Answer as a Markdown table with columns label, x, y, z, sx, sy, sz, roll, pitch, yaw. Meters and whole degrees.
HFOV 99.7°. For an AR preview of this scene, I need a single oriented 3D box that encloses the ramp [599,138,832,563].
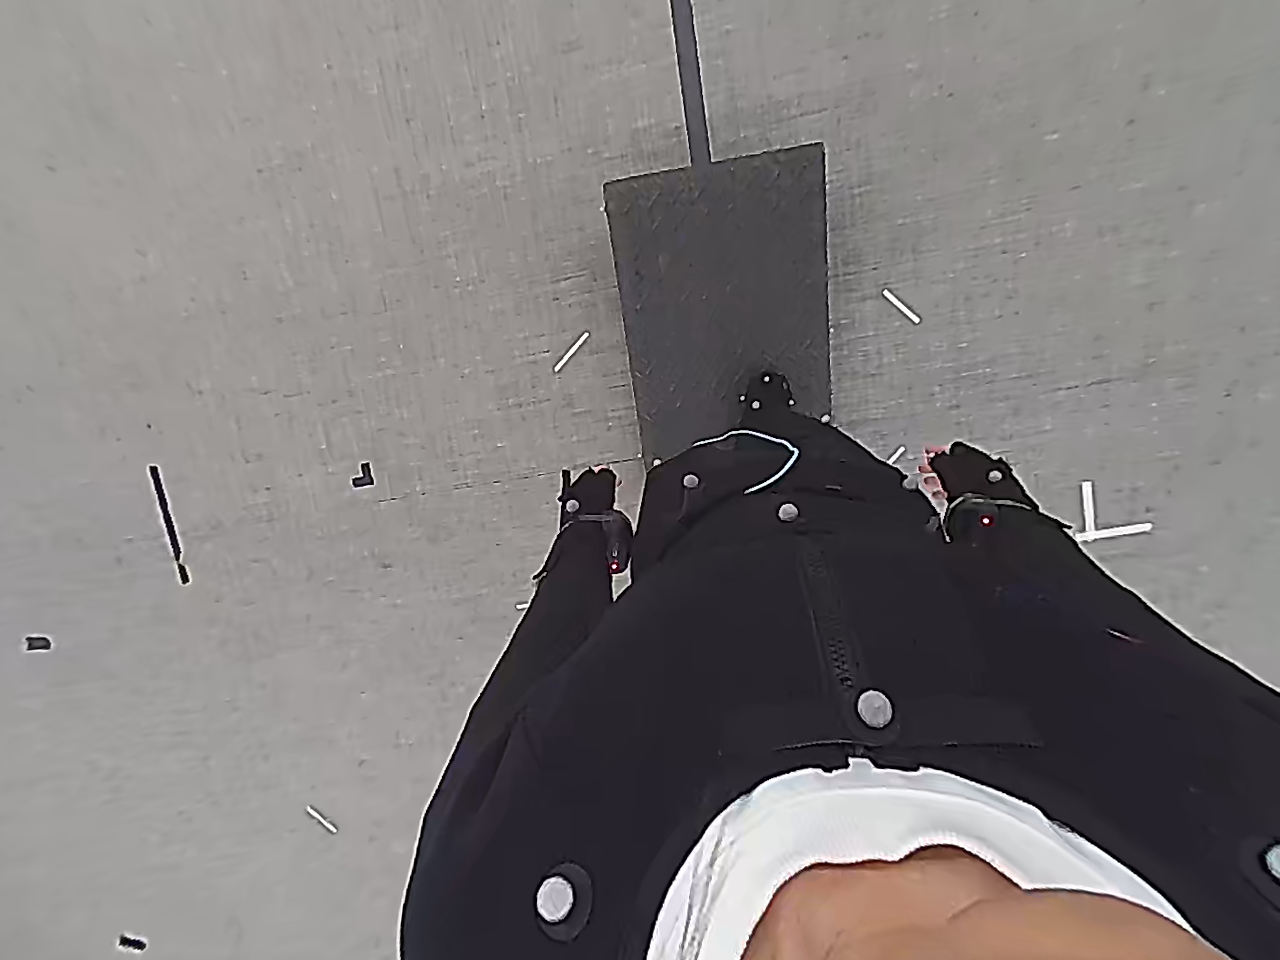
| label | x | y | z | sx | sy | sz | roll | pitch | yaw |
| --- | --- | --- | --- | --- | --- | --- | --- | --- | --- |
| ramp | 0.220 | -0.246 | 1.362 | 0.509 | 0.206 | 0.991 | -8 | 100 | 8 |
